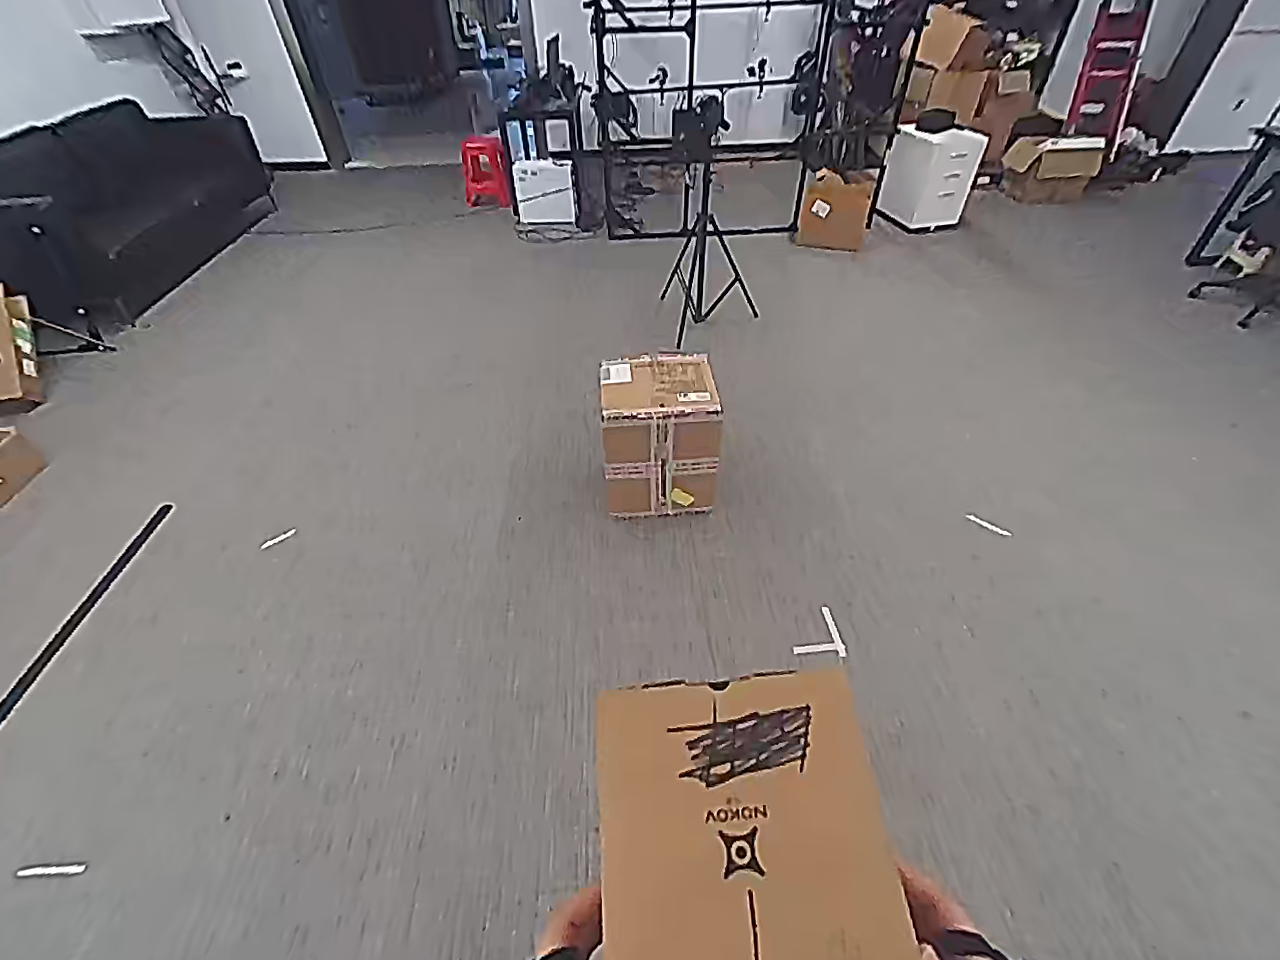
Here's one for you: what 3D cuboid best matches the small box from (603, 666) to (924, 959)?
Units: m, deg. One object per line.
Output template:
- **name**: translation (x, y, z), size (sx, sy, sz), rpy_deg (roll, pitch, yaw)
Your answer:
- **small box**: translation (0.068, 0.244, 0.376), size (0.168, 0.176, 0.179), rpy_deg (-7, 58, 4)
